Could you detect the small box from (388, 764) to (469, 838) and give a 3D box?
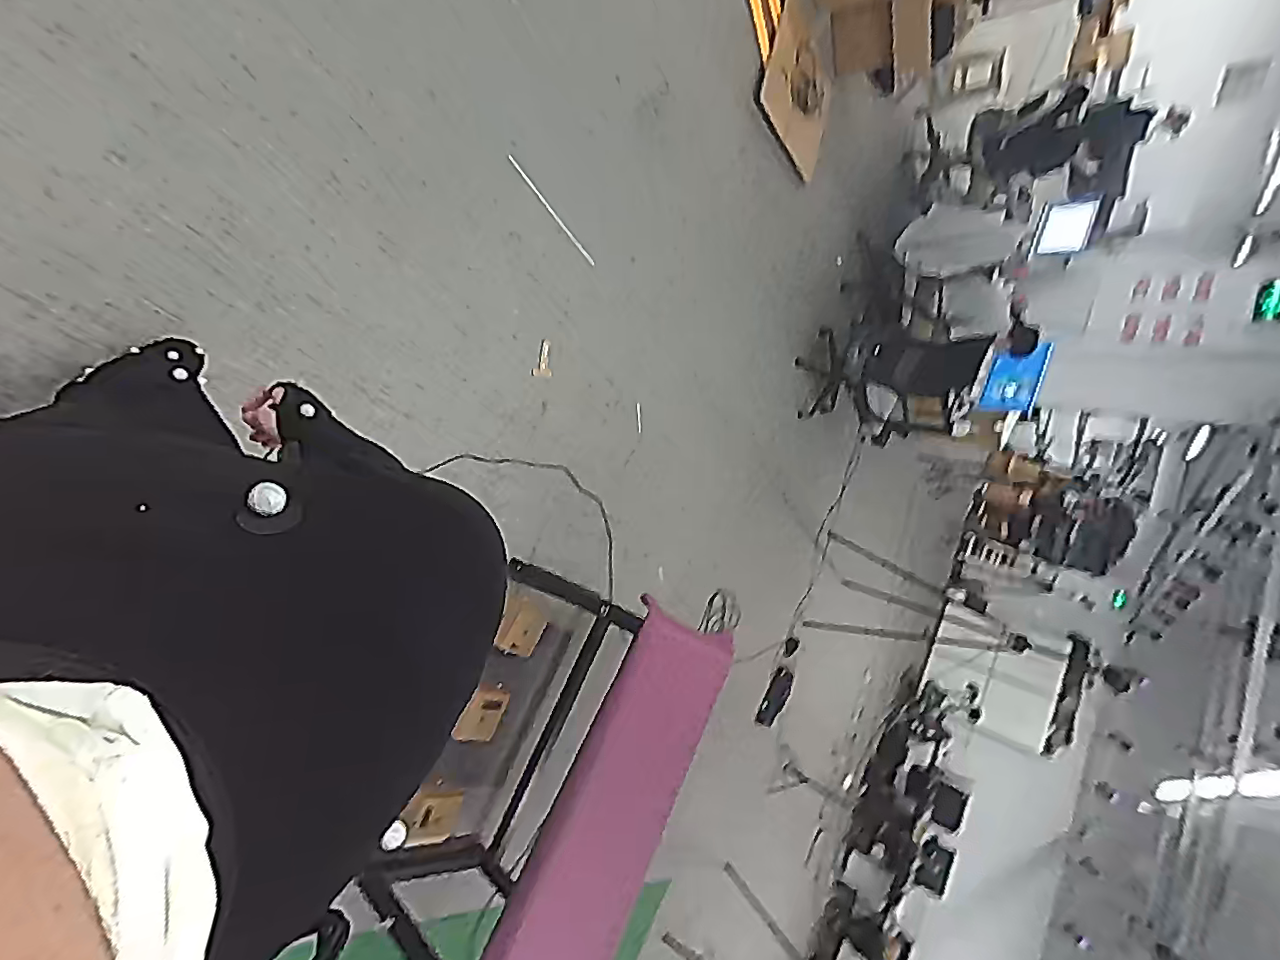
[{"bbox_3d":[-0.754,1.131,1.919,0.179,0.176,0.168,36,75,-50],"label":"small box"}]

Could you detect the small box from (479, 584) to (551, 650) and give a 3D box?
[{"bbox_3d":[-0.477,0.517,2.051,0.168,0.176,0.179,43,68,-48],"label":"small box"}]
